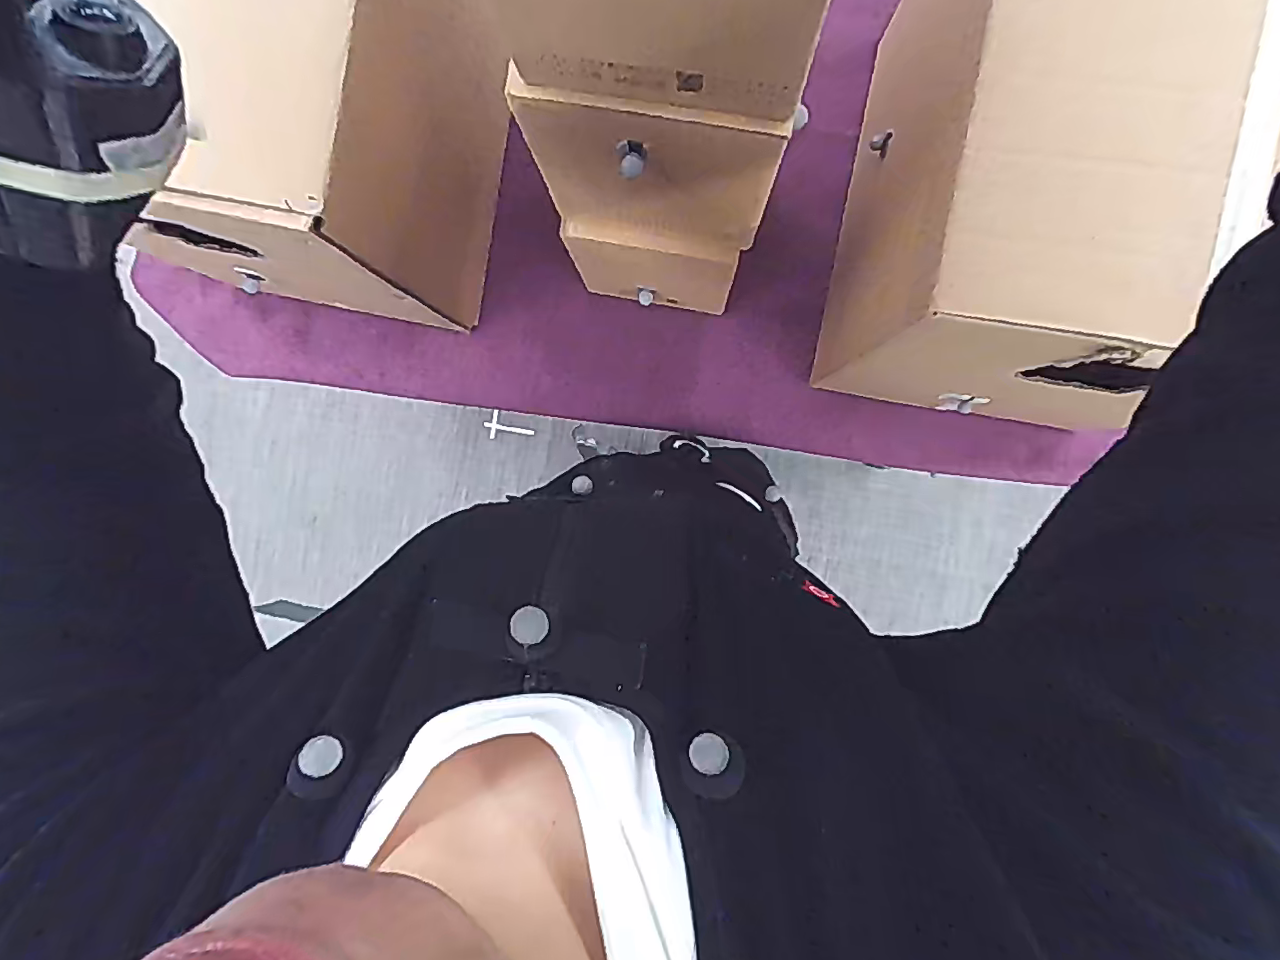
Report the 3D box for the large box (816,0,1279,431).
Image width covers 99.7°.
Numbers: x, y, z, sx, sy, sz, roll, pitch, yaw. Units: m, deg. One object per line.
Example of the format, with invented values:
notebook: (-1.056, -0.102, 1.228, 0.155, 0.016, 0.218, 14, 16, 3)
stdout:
large box: (0.370, -0.271, 0.470, 0.320, 0.320, 0.408, 10, 91, 3)
